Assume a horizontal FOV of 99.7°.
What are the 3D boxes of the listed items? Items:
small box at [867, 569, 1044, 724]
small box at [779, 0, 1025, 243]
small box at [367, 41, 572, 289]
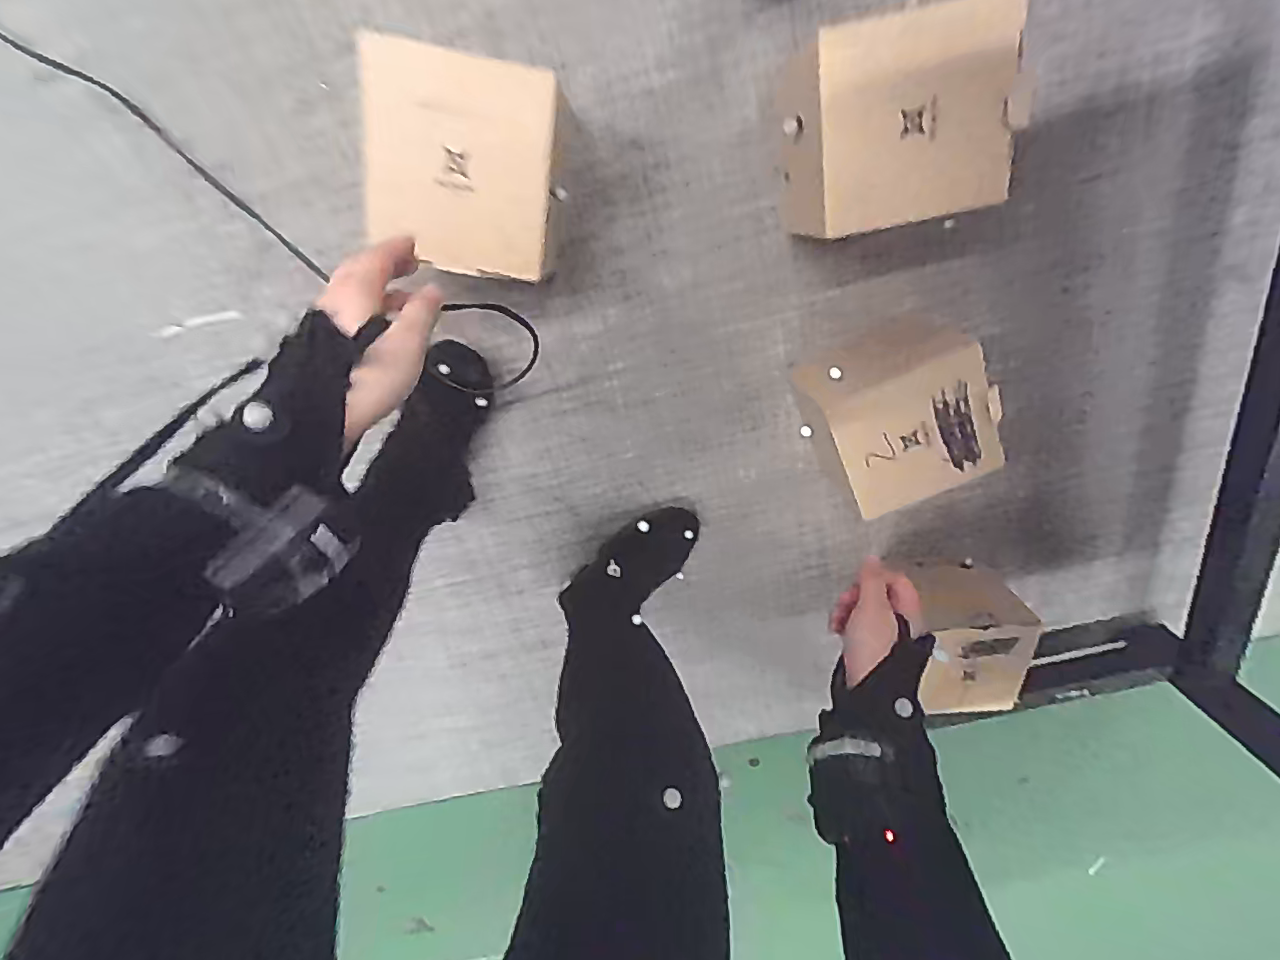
[{"bbox_3d":[0.478,0.252,0.853,0.168,0.176,0.179,-2,117,0],"label":"small box"},{"bbox_3d":[0.249,-0.348,0.560,0.179,0.176,0.168,-11,115,3],"label":"small box"},{"bbox_3d":[-0.166,-0.313,0.567,0.168,0.176,0.179,8,114,-6],"label":"small box"}]
